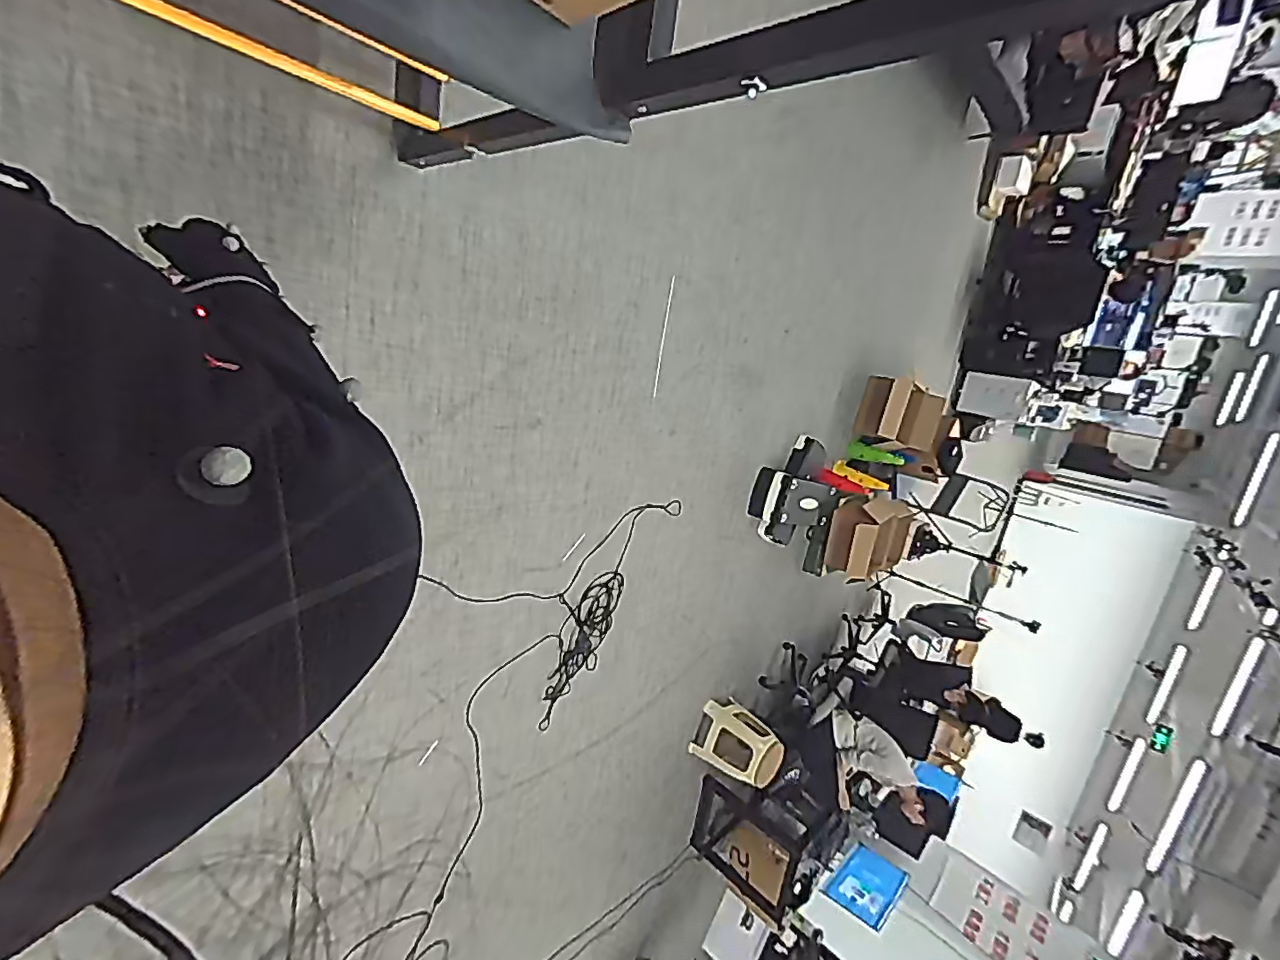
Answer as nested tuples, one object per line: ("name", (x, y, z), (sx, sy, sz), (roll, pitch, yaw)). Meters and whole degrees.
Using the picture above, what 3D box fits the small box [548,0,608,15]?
("small box", (-0.085, -0.730, 0.668), (0.168, 0.176, 0.179), (-6, 110, -47))
